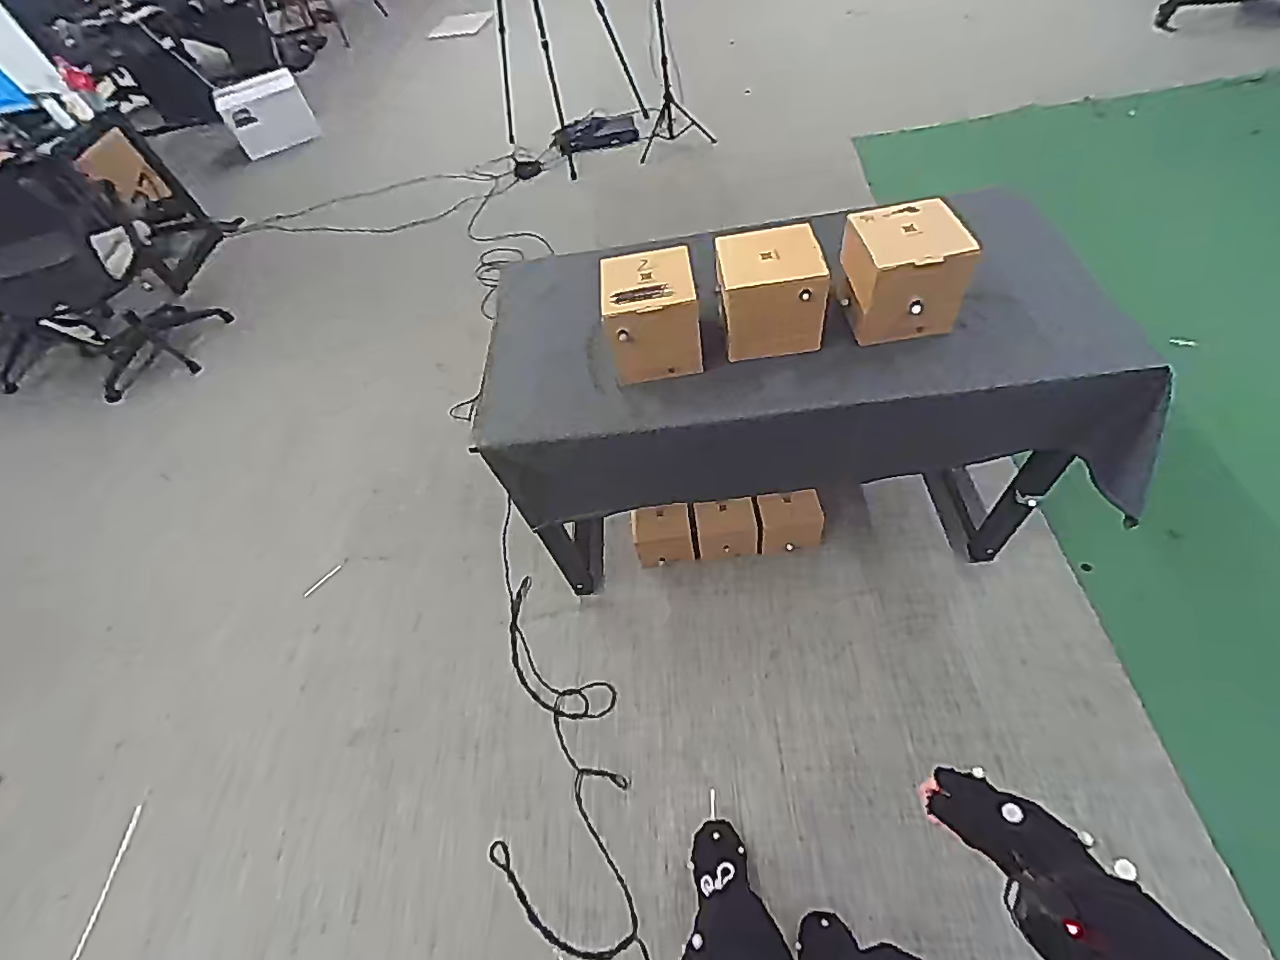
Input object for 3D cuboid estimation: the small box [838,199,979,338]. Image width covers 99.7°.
[{"bbox_3d":[0.478,-0.378,0.993,0.168,0.176,0.179,-8,54,5],"label":"small box"}]
